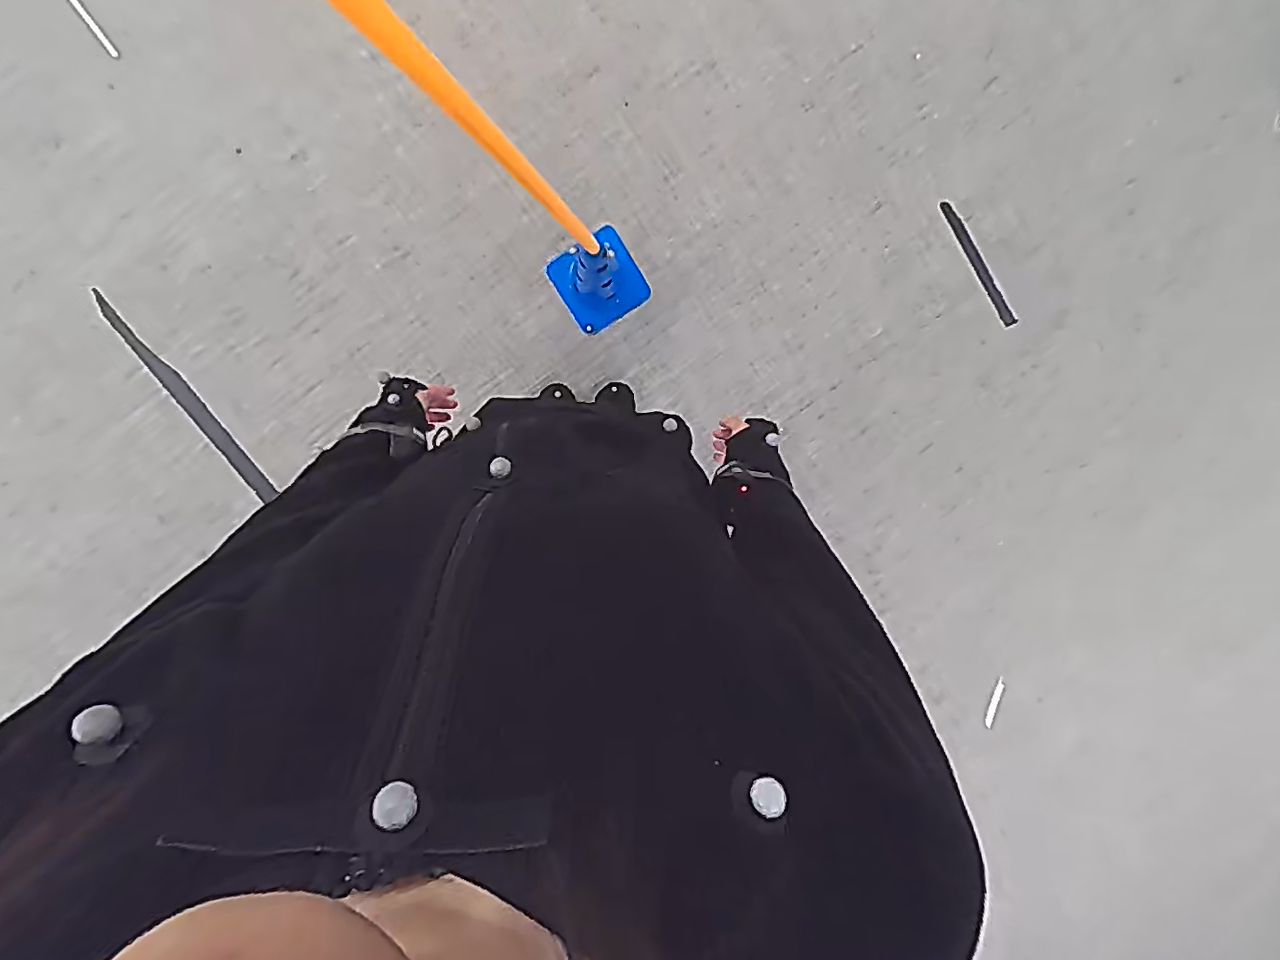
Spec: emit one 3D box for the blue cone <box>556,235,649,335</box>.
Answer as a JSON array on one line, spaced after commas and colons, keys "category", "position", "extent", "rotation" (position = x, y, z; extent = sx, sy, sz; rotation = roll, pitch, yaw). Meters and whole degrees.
[{"category": "blue cone", "position": [-0.084, -0.449, 1.169], "extent": [0.193, 0.380, 0.192], "rotation": [-31, 101, 3]}]
